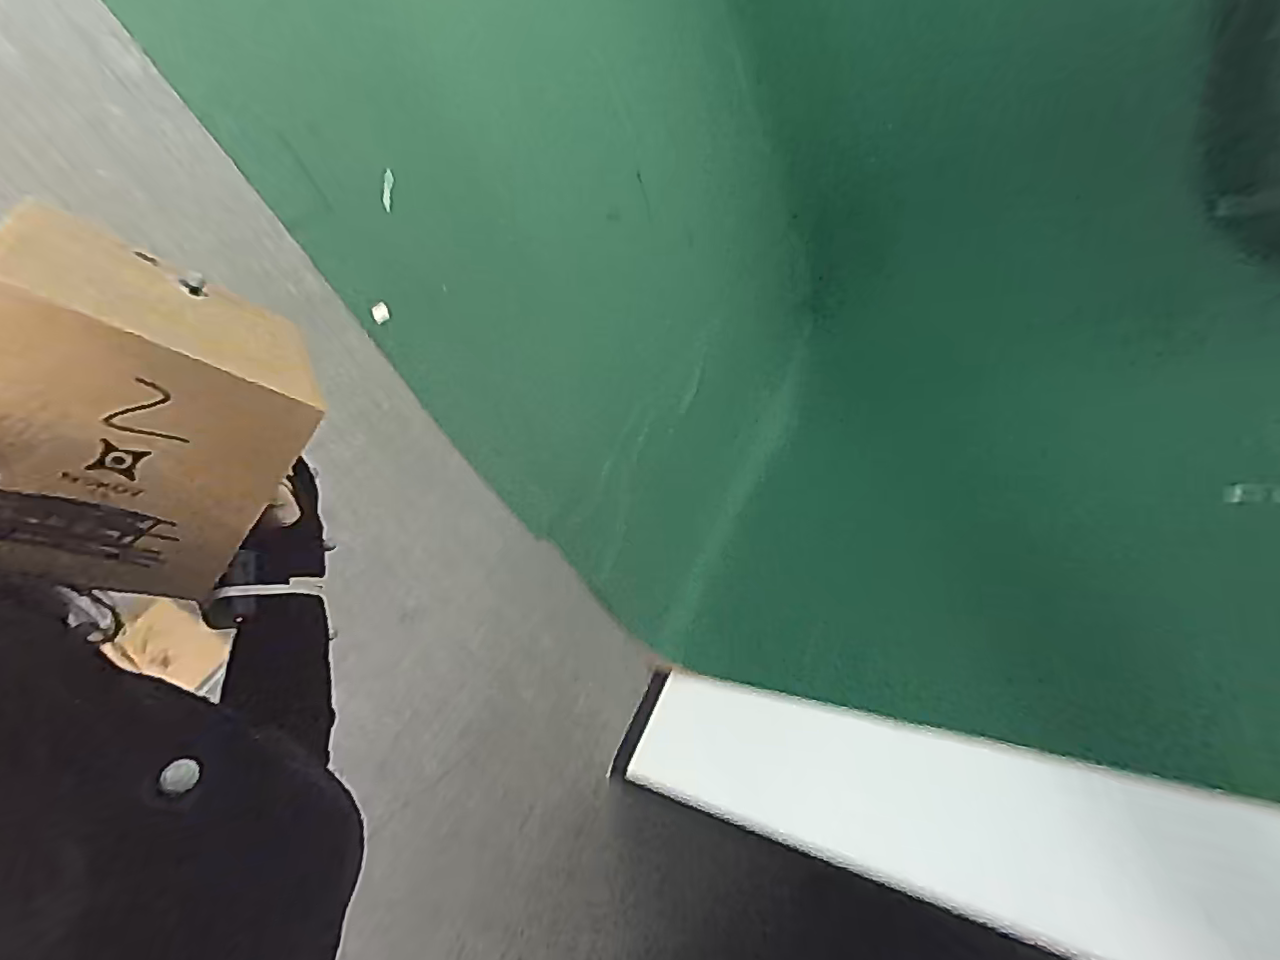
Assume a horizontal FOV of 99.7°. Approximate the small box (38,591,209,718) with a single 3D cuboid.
[{"bbox_3d":[-1.027,0.338,1.079,0.168,0.176,0.179,-56,130,-38],"label":"small box"}]
